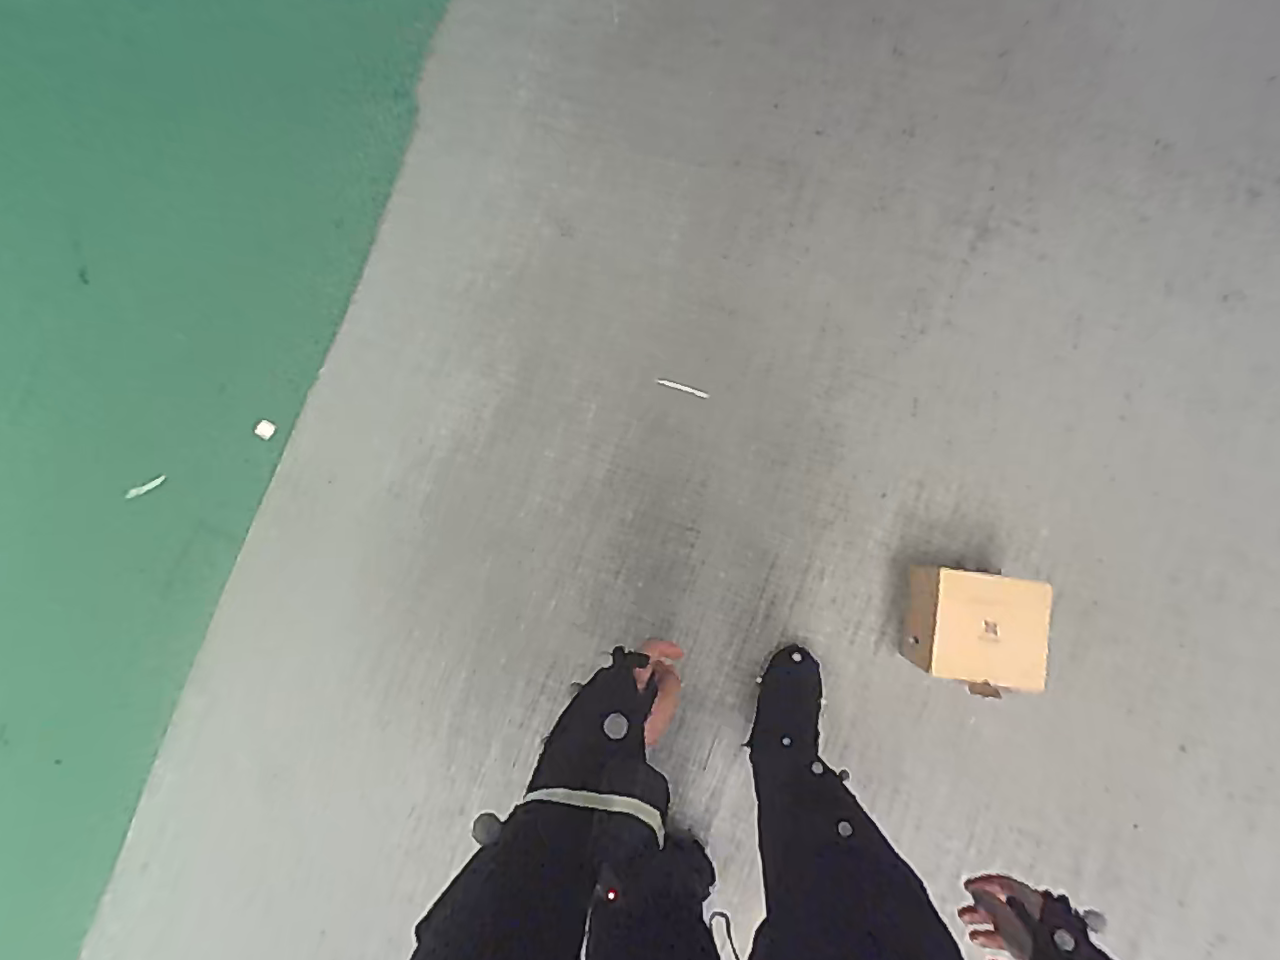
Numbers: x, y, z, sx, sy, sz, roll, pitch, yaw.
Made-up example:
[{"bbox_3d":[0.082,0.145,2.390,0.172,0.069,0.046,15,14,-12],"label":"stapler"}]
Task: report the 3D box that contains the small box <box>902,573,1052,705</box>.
[{"bbox_3d":[0.567,0.261,0.931,0.168,0.176,0.179,8,83,10],"label":"small box"}]
